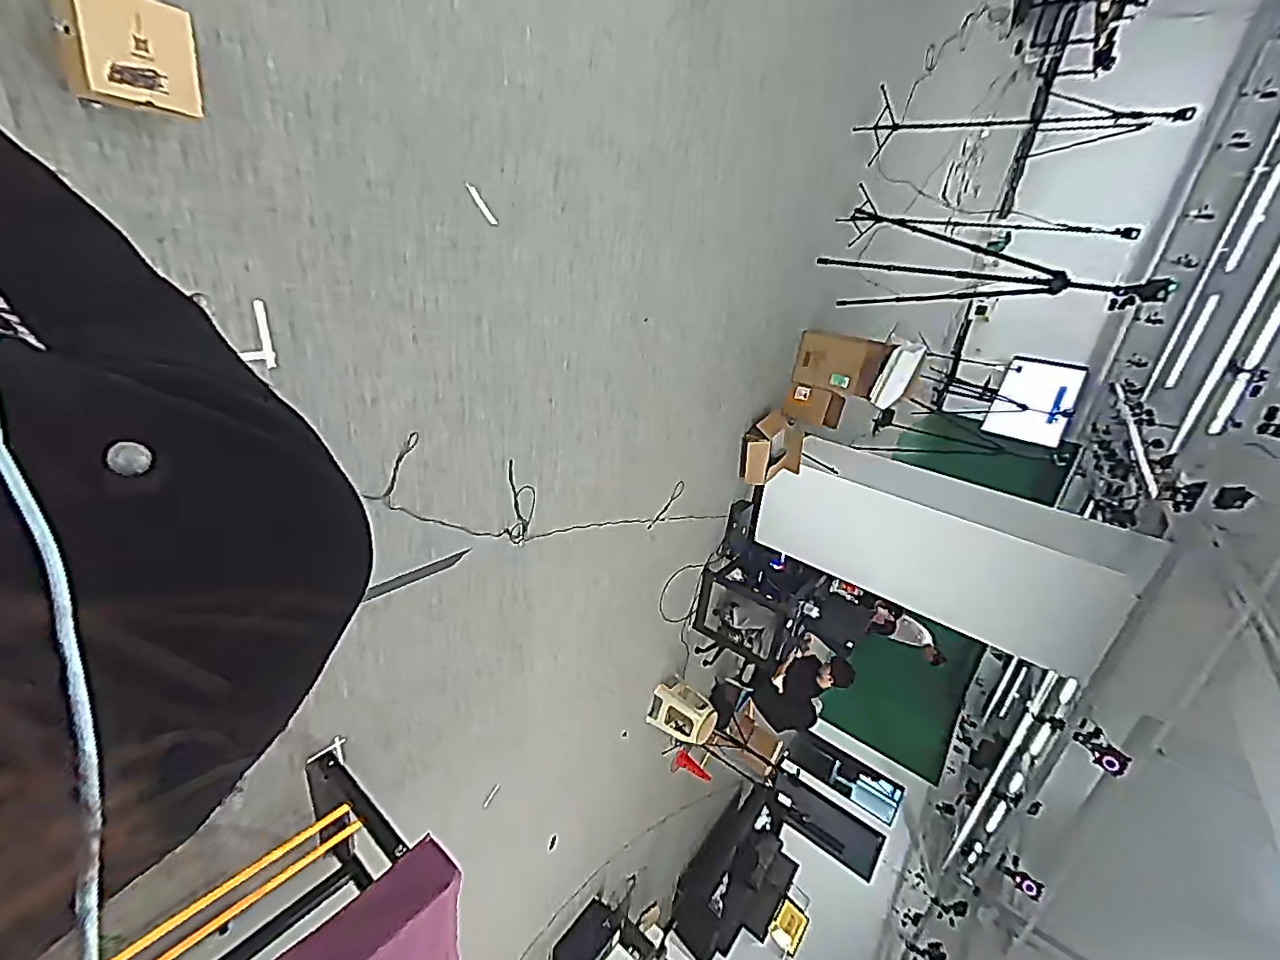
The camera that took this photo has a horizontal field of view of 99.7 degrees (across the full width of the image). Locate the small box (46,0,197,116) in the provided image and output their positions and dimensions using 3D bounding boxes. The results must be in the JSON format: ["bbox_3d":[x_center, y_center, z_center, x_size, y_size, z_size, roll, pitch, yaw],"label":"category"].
[{"bbox_3d":[-0.974,-0.809,1.019,0.168,0.176,0.179,-19,124,-51],"label":"small box"}]
